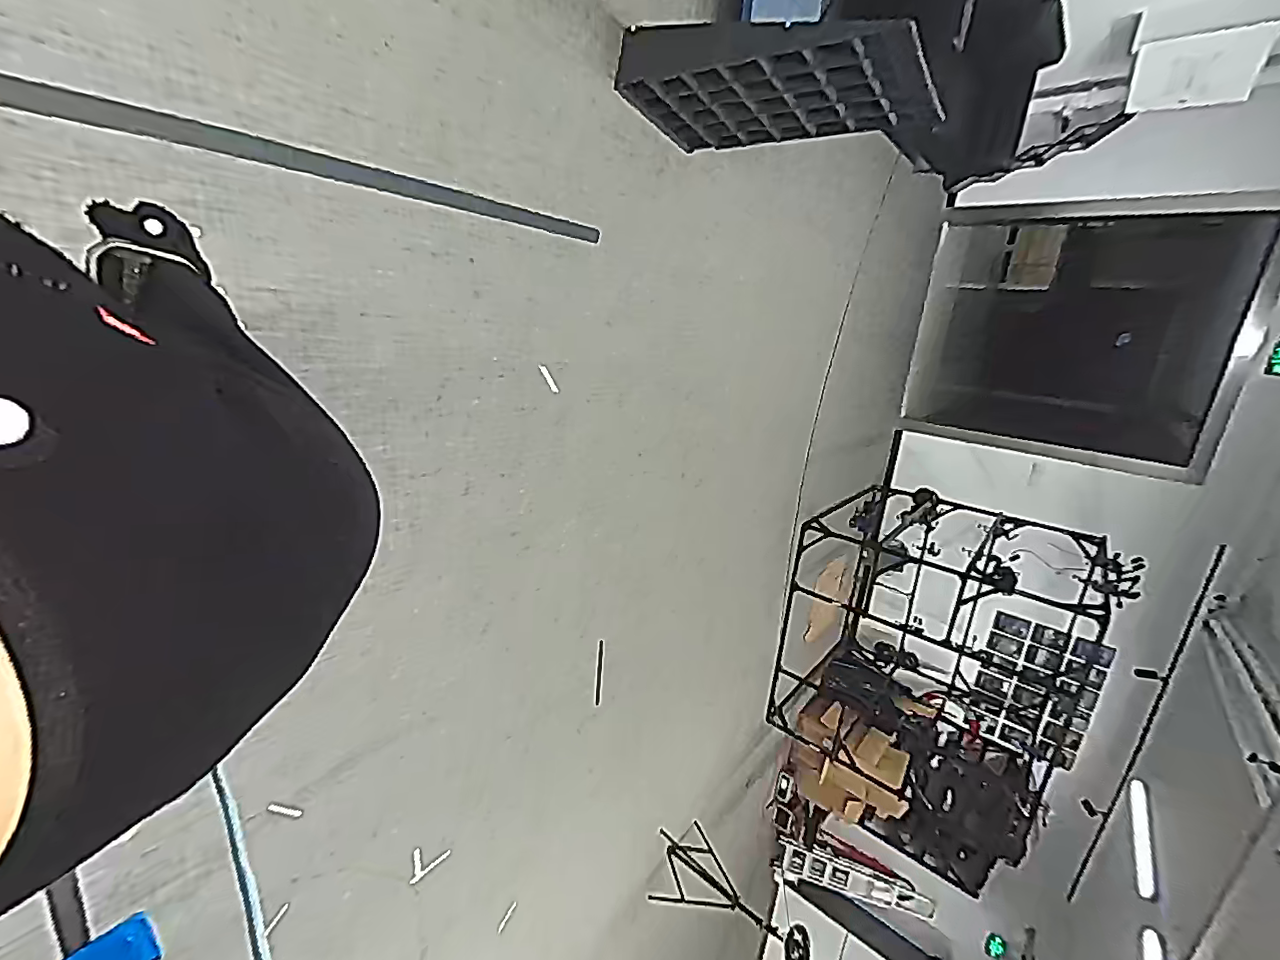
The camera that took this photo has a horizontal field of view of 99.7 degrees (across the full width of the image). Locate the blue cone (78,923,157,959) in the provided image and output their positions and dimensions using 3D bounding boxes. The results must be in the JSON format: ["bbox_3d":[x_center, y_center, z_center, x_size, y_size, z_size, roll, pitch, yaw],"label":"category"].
[{"bbox_3d":[-1.195,1.255,1.232,0.192,0.380,0.193,-20,120,-49],"label":"blue cone"}]
